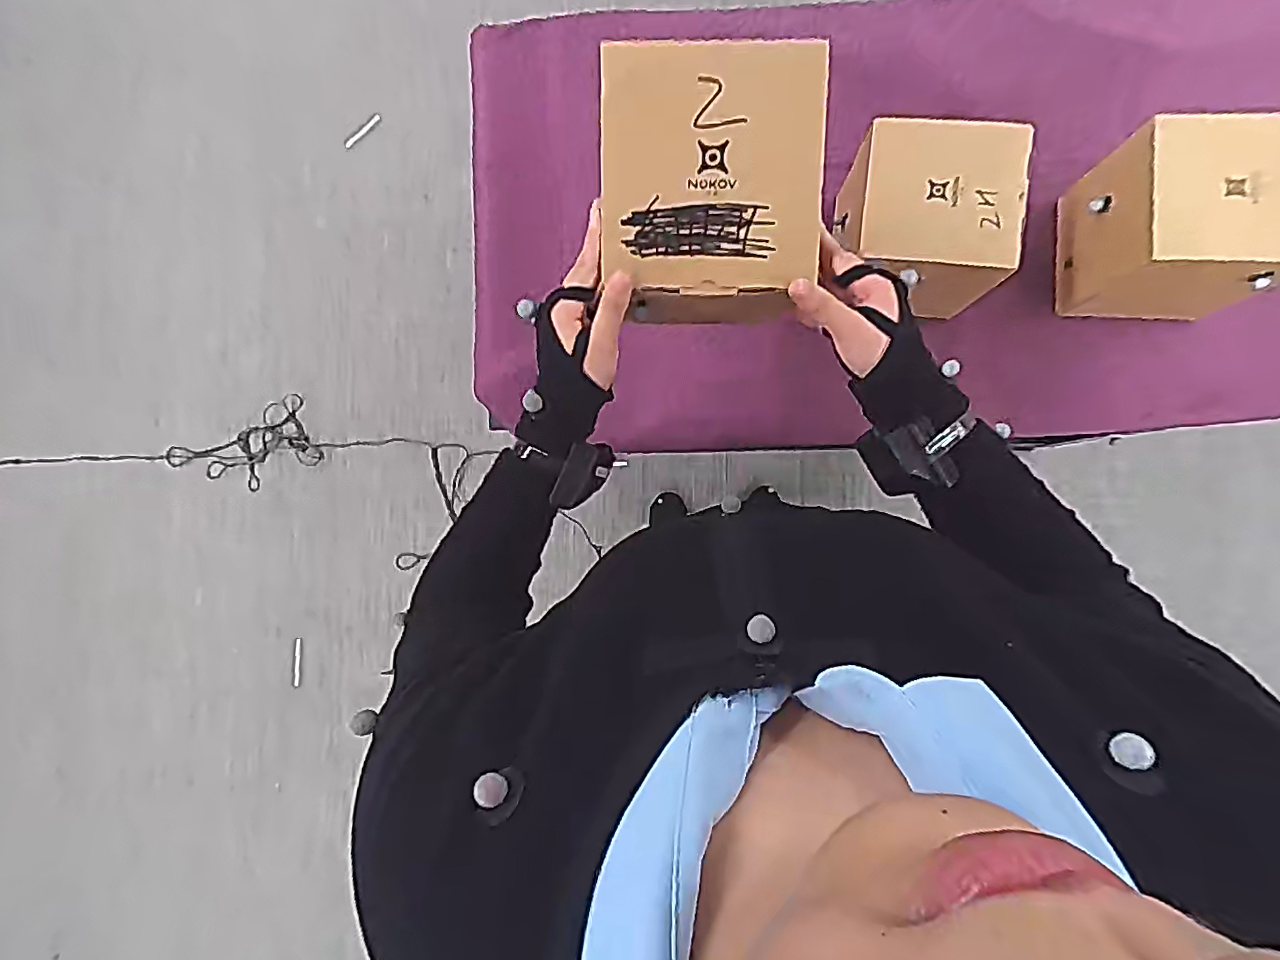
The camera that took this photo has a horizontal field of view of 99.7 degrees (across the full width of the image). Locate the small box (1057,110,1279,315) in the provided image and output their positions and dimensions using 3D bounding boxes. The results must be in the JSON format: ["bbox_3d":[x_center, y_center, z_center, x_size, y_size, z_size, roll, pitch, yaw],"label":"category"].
[{"bbox_3d":[0.648,-0.309,0.655,0.179,0.176,0.168,3,87,5],"label":"small box"}]

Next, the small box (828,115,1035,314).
[{"bbox_3d":[0.350,-0.321,0.684,0.179,0.176,0.168,7,89,5],"label":"small box"}]
